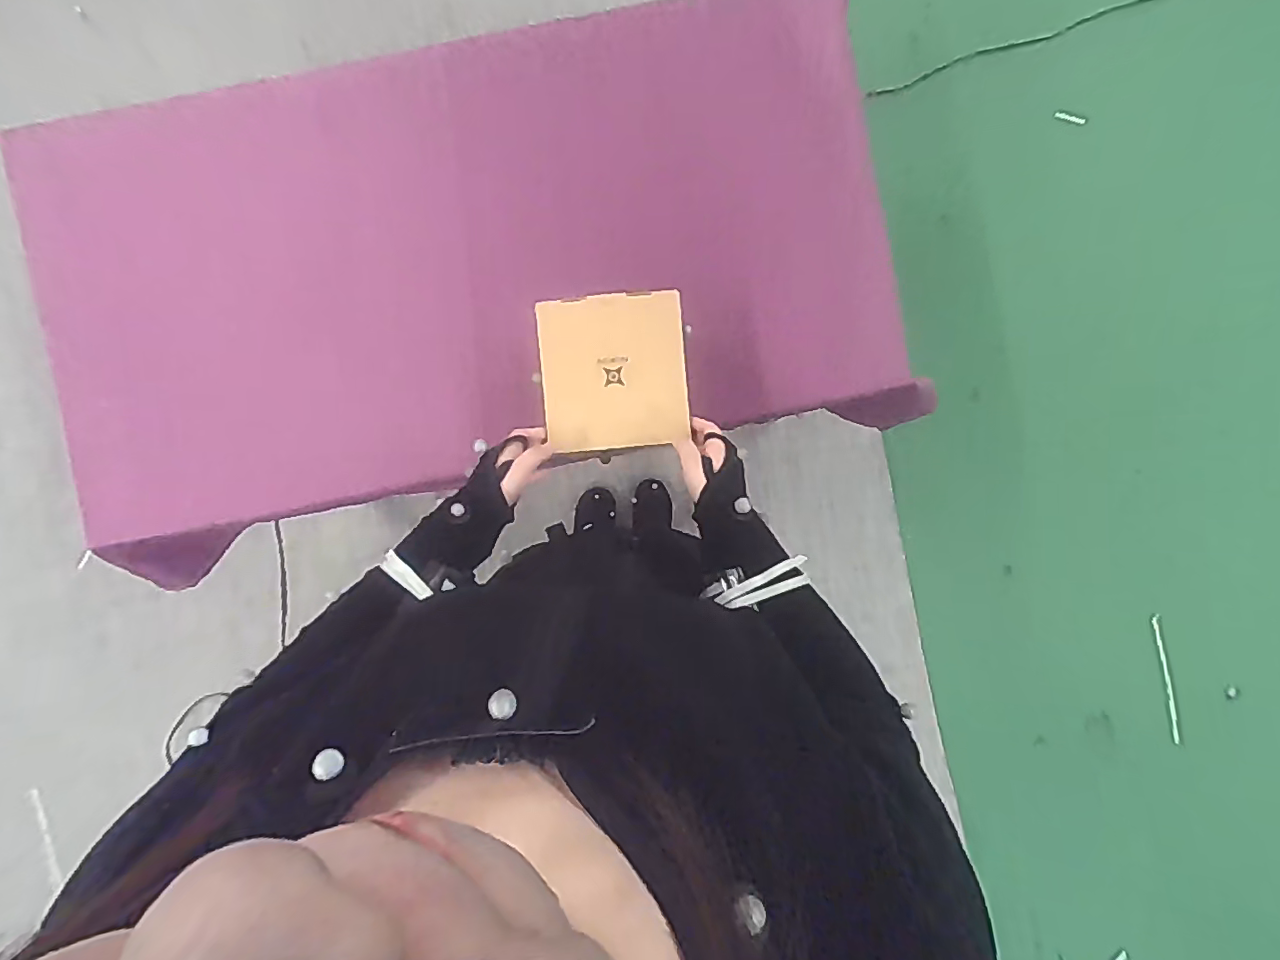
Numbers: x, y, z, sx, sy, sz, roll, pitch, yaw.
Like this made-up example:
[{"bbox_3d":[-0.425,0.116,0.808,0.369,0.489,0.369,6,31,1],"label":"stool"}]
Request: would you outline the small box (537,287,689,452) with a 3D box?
[{"bbox_3d":[-0.028,-0.127,0.692,0.168,0.176,0.179,-5,90,1],"label":"small box"}]
